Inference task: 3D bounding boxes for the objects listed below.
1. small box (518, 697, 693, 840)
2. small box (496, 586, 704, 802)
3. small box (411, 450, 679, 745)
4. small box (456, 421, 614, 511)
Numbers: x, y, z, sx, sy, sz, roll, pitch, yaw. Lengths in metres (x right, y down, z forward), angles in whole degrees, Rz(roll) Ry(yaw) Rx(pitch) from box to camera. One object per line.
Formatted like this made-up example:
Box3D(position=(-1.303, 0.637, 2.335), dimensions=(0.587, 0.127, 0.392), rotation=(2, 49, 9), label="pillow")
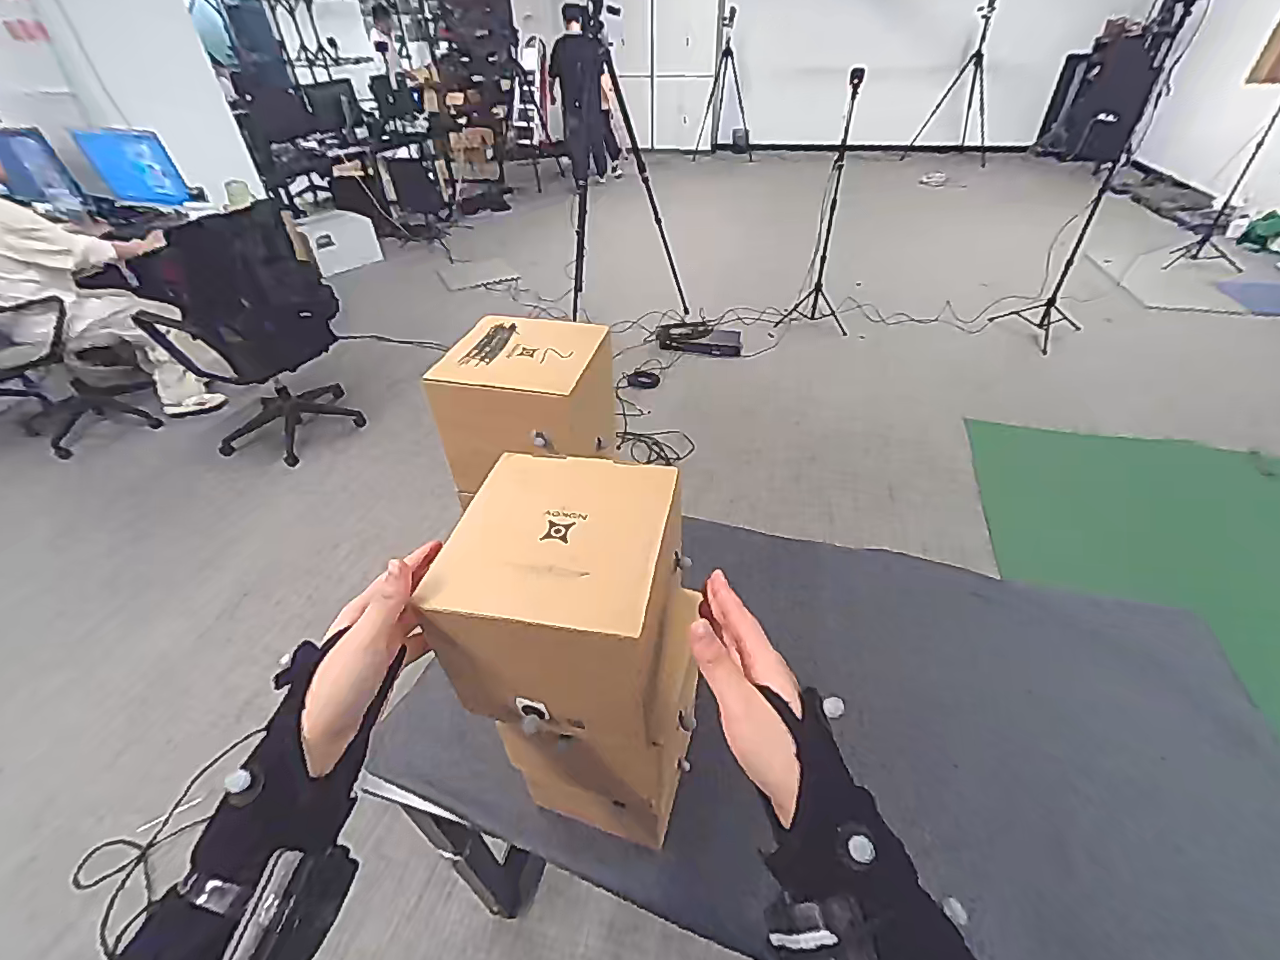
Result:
Box3D(position=(-0.033, 0.331, 0.697), dimensions=(0.179, 0.176, 0.168), rotation=(11, 42, 15), label="small box")
Box3D(position=(-0.035, 0.216, 0.582), dimensions=(0.179, 0.176, 0.168), rotation=(10, 42, 15), label="small box")
Box3D(position=(-0.061, 0.097, 0.472), dimensions=(0.168, 0.176, 0.179), rotation=(5, 42, 11), label="small box")
Box3D(position=(-0.137, 0.034, 0.803), dimensions=(0.179, 0.176, 0.168), rotation=(7, 42, 12), label="small box")
